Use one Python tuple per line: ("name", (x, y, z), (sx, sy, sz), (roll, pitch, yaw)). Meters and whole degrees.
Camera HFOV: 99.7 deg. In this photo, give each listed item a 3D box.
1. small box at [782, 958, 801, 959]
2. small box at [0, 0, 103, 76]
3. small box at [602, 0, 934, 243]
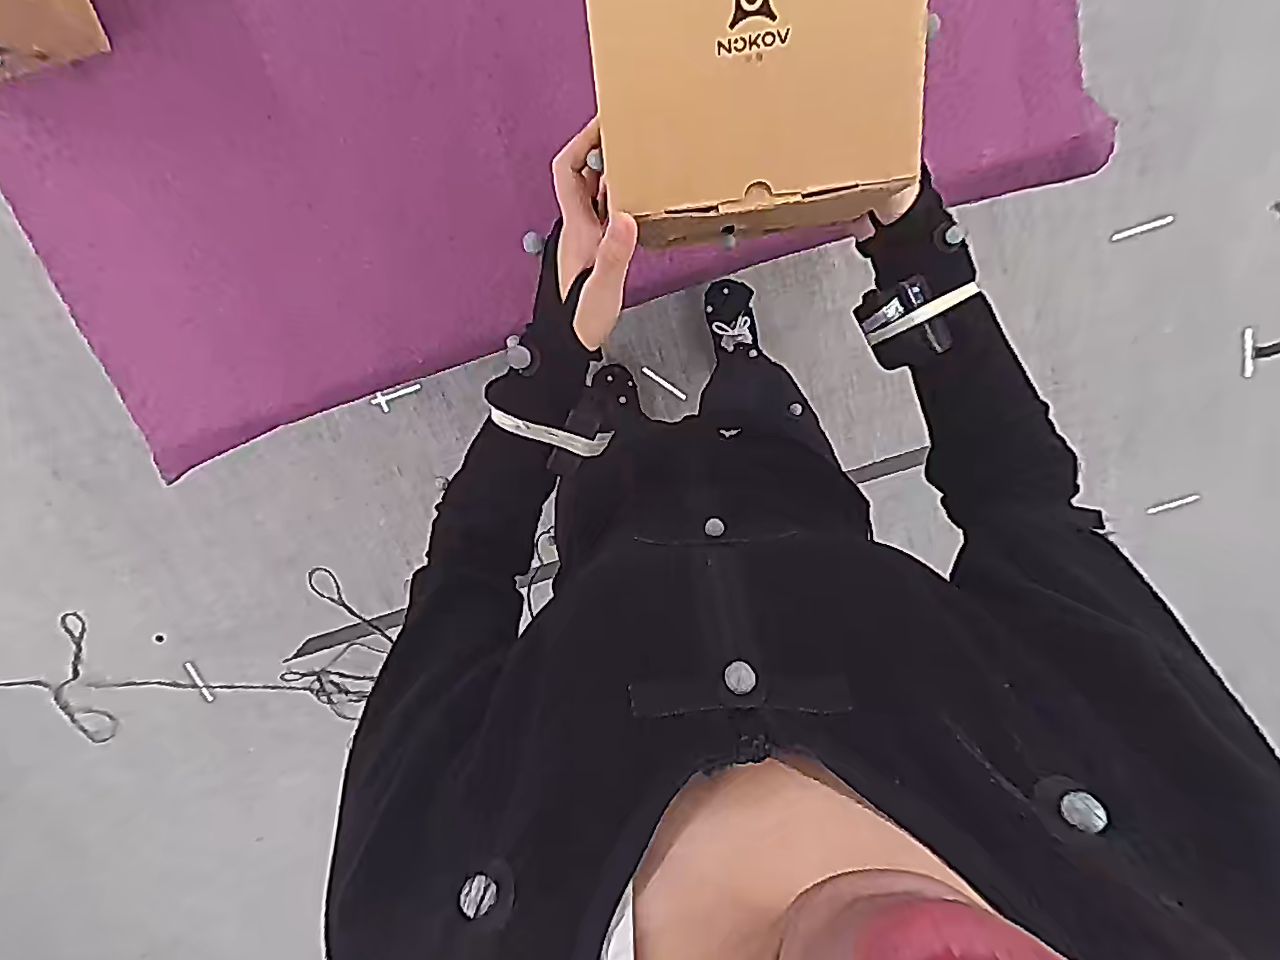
("small box", (0.420, 1.547, 1.580), (0.179, 0.176, 0.168), (-10, 106, 1))
("small box", (-0.656, -0.496, 0.473), (0.168, 0.176, 0.179), (-14, 109, 1))
("small box", (0.069, -0.263, 0.346), (0.168, 0.176, 0.179), (-5, 108, 8))
